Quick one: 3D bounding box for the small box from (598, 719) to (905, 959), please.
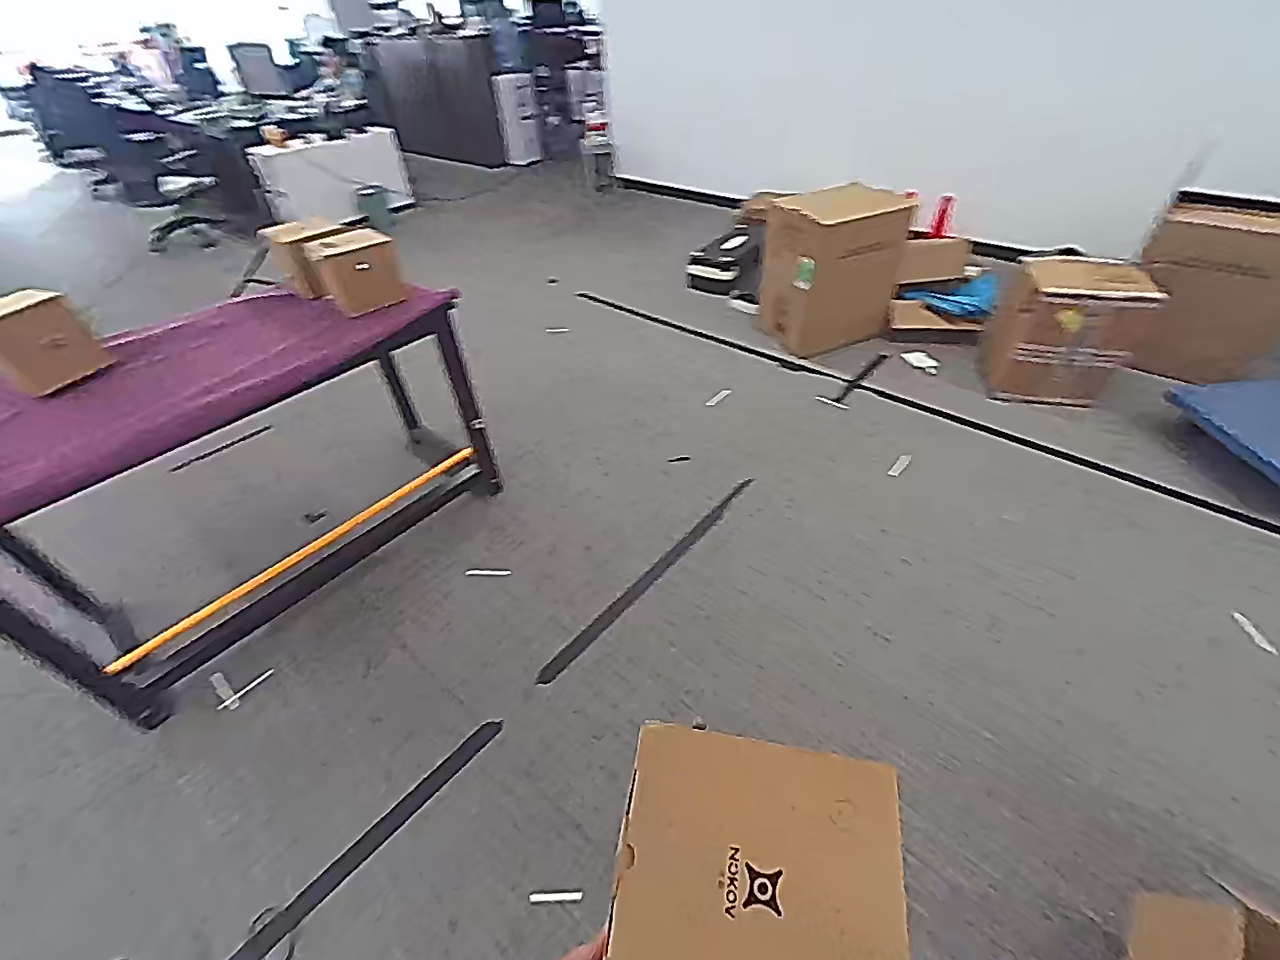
[{"bbox_3d":[0.078,0.290,0.397,0.179,0.176,0.168,3,56,12],"label":"small box"}]

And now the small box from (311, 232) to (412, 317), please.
[{"bbox_3d":[-0.784,-0.583,1.534,0.179,0.176,0.168,-34,49,-29],"label":"small box"}]

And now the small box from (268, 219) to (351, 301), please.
[{"bbox_3d":[-0.975,-0.669,1.642,0.168,0.176,0.179,29,51,30],"label":"small box"}]
